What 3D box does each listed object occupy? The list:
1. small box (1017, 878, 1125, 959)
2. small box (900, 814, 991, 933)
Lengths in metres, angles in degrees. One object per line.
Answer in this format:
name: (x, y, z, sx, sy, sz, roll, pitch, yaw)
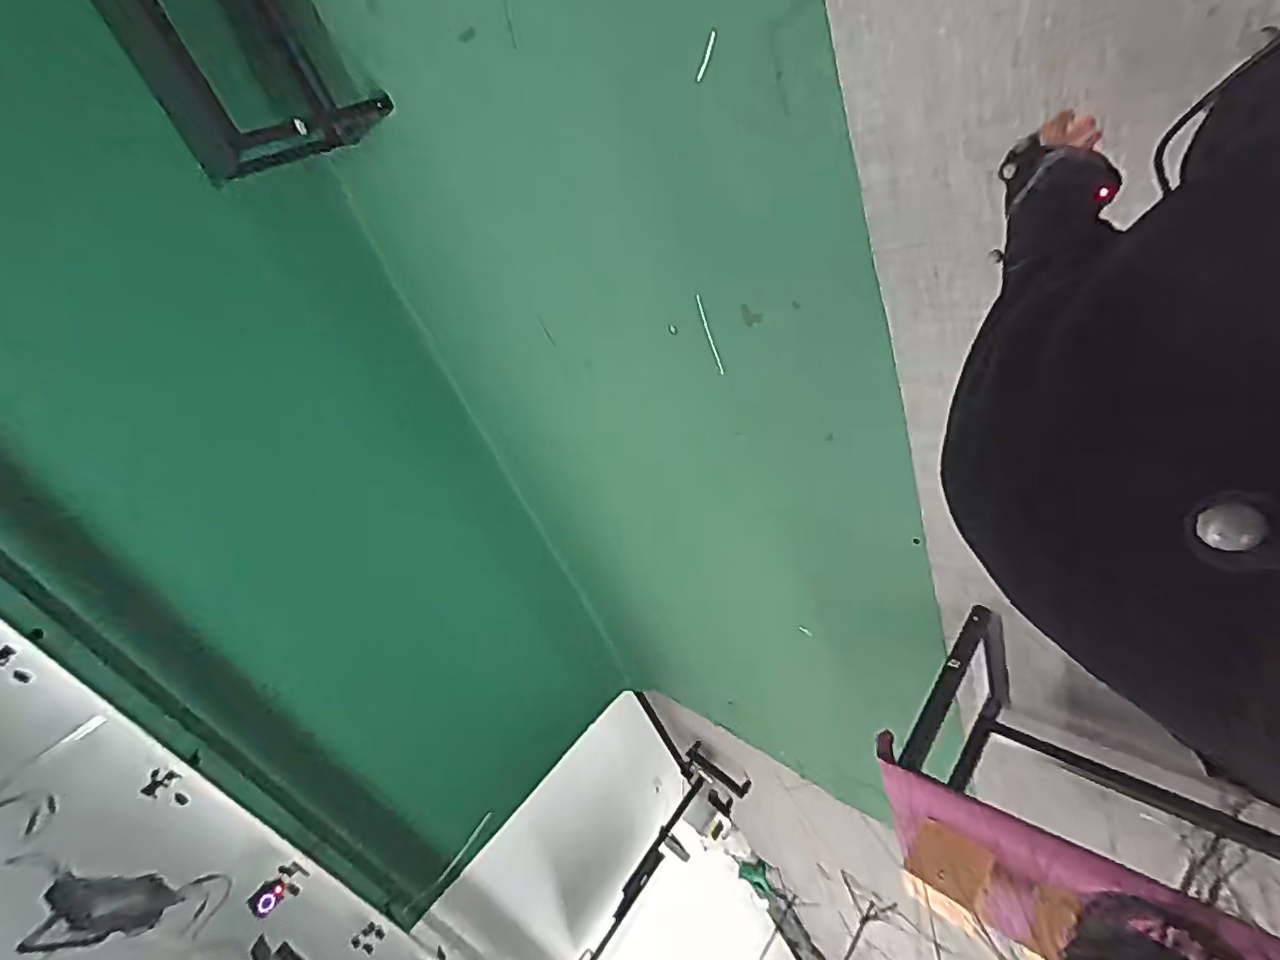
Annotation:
small box: (1.018, 1.101, 1.273, 0.168, 0.176, 0.179, 5, 129, 50)
small box: (0.831, 1.058, 1.466, 0.179, 0.176, 0.168, 13, 136, 45)
